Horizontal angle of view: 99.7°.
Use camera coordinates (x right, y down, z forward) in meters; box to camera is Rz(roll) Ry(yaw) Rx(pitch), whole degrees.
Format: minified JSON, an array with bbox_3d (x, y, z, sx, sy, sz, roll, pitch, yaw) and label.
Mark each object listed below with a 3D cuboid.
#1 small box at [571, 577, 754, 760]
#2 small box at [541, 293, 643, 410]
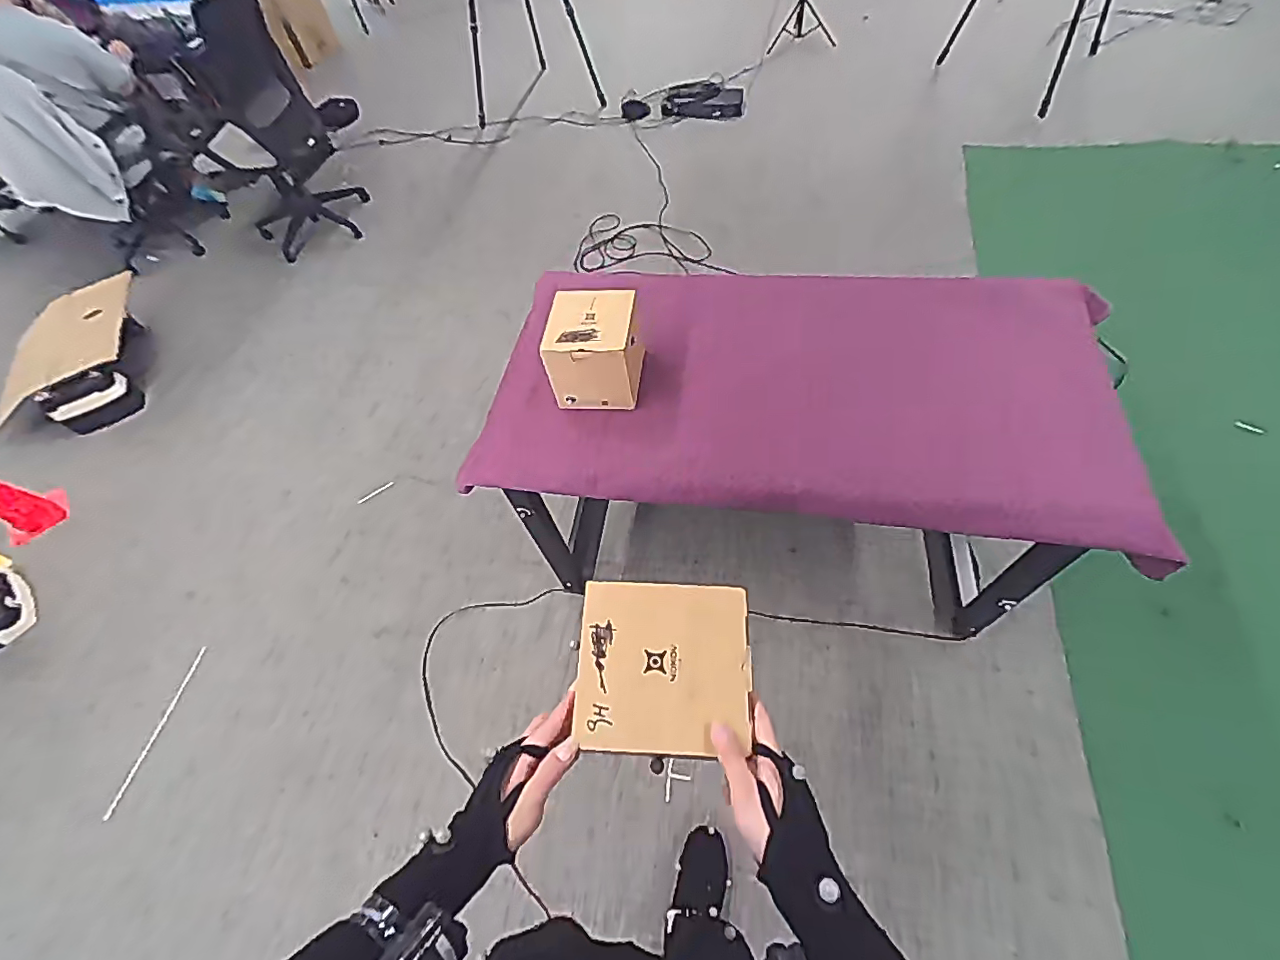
[{"bbox_3d":[0.026,0.220,0.616,0.179,0.176,0.168,4,61,2],"label":"small box"},{"bbox_3d":[-0.088,-0.260,1.112,0.168,0.176,0.179,3,57,9],"label":"small box"}]
